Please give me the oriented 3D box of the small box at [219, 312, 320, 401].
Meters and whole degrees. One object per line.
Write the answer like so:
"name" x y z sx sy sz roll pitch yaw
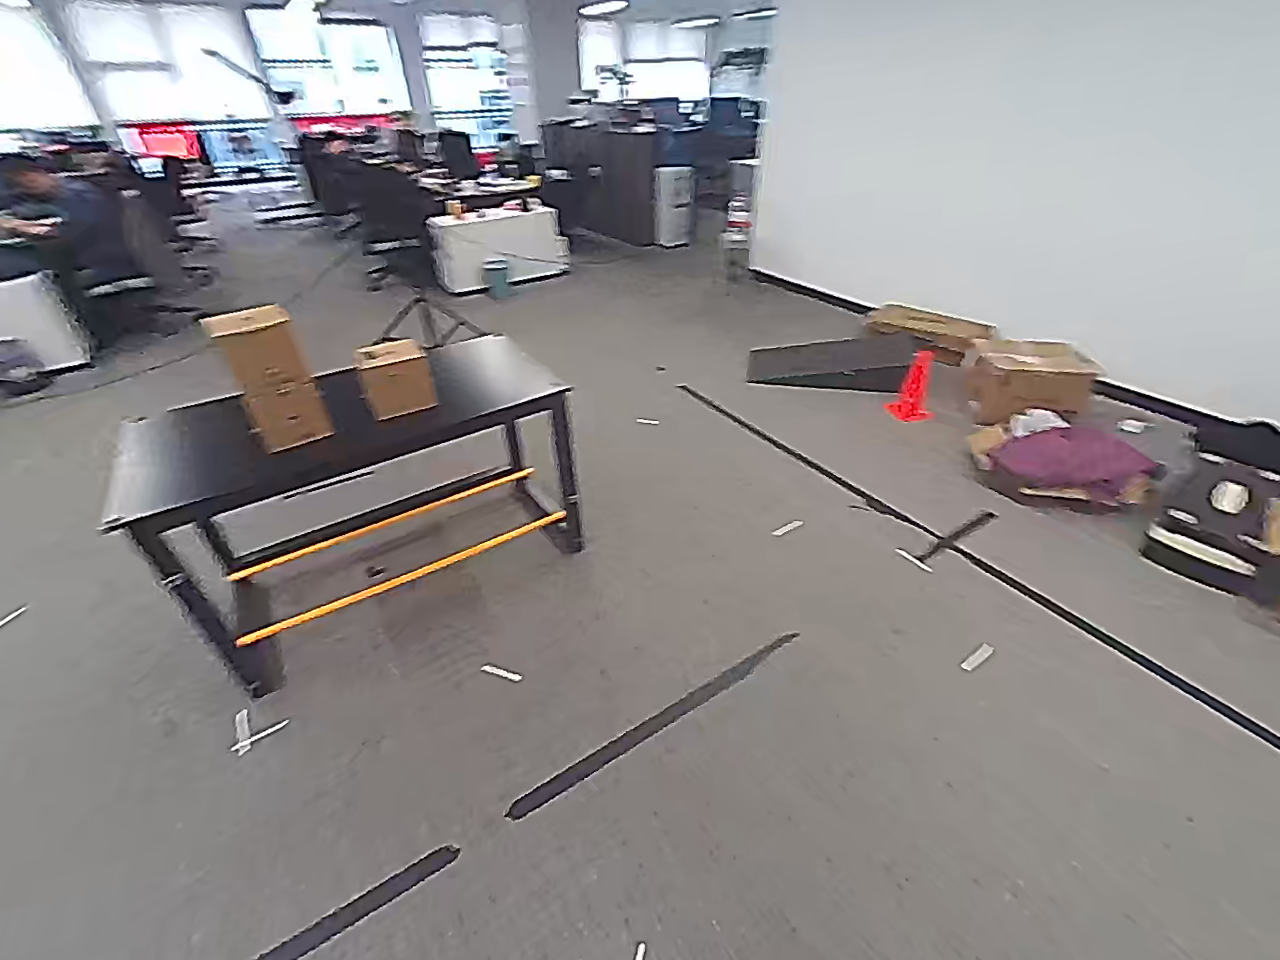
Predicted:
"small box" -0.991 -0.332 1.451 0.168 0.176 0.179 -27 43 -30

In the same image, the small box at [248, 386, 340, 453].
"small box" -0.985 -0.195 1.545 0.168 0.176 0.179 -25 42 -29

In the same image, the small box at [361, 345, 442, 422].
"small box" -0.737 -0.298 1.675 0.179 0.176 0.168 -20 40 -25
